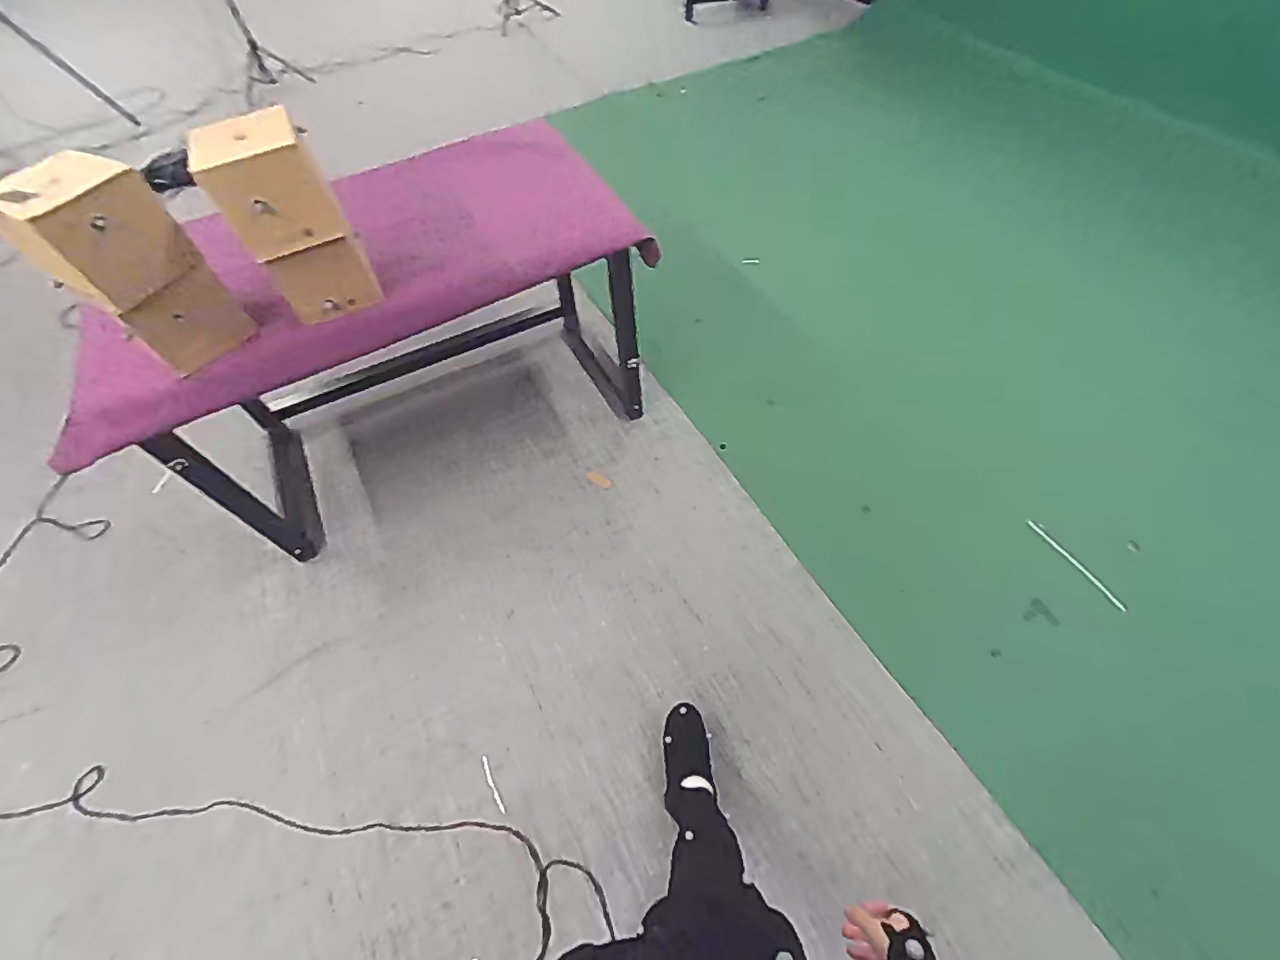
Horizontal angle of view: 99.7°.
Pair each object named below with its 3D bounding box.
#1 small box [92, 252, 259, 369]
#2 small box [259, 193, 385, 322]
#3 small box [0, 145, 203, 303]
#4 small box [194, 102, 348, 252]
[{"bbox_3d":[-0.909,-0.350,1.060,0.168,0.176,0.179,32,64,21],"label":"small box"},{"bbox_3d":[-0.658,-0.462,1.121,0.168,0.176,0.179,-24,59,-11],"label":"small box"},{"bbox_3d":[-0.911,-0.428,0.914,0.168,0.176,0.179,21,59,16],"label":"small box"},{"bbox_3d":[-0.658,-0.539,0.977,0.168,0.176,0.179,-25,57,-11],"label":"small box"}]
